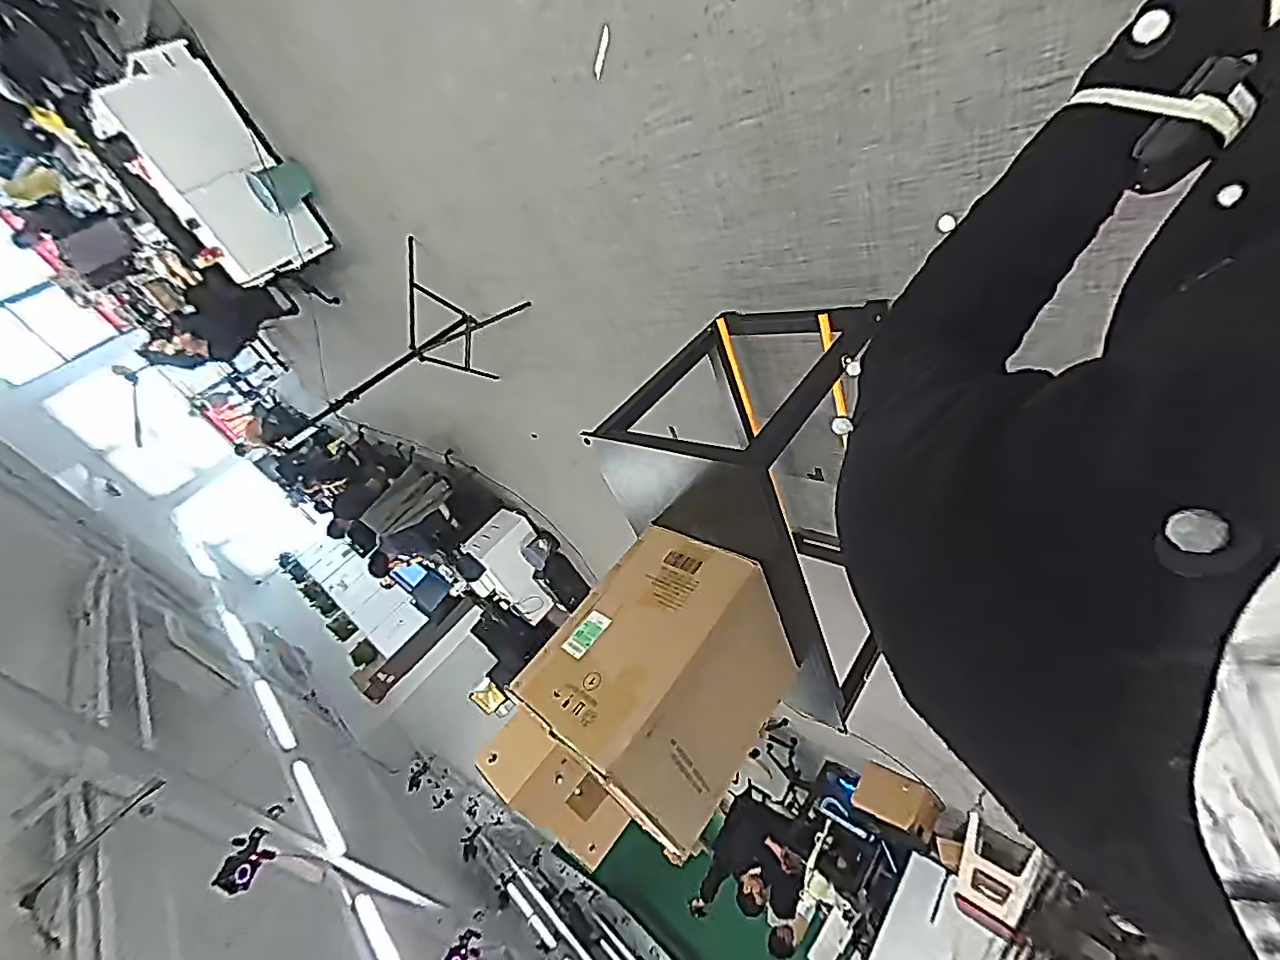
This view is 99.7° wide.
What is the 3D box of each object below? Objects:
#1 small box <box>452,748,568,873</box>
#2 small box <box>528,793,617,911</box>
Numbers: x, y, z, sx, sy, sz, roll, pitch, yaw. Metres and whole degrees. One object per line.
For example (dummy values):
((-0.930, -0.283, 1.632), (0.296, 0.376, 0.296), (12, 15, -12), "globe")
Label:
((-0.305, 0.773, 1.286), (0.179, 0.176, 0.168), (15, 144, 46), "small box")
((-0.189, 0.984, 1.441), (0.168, 0.176, 0.179), (16, 142, 44), "small box")
